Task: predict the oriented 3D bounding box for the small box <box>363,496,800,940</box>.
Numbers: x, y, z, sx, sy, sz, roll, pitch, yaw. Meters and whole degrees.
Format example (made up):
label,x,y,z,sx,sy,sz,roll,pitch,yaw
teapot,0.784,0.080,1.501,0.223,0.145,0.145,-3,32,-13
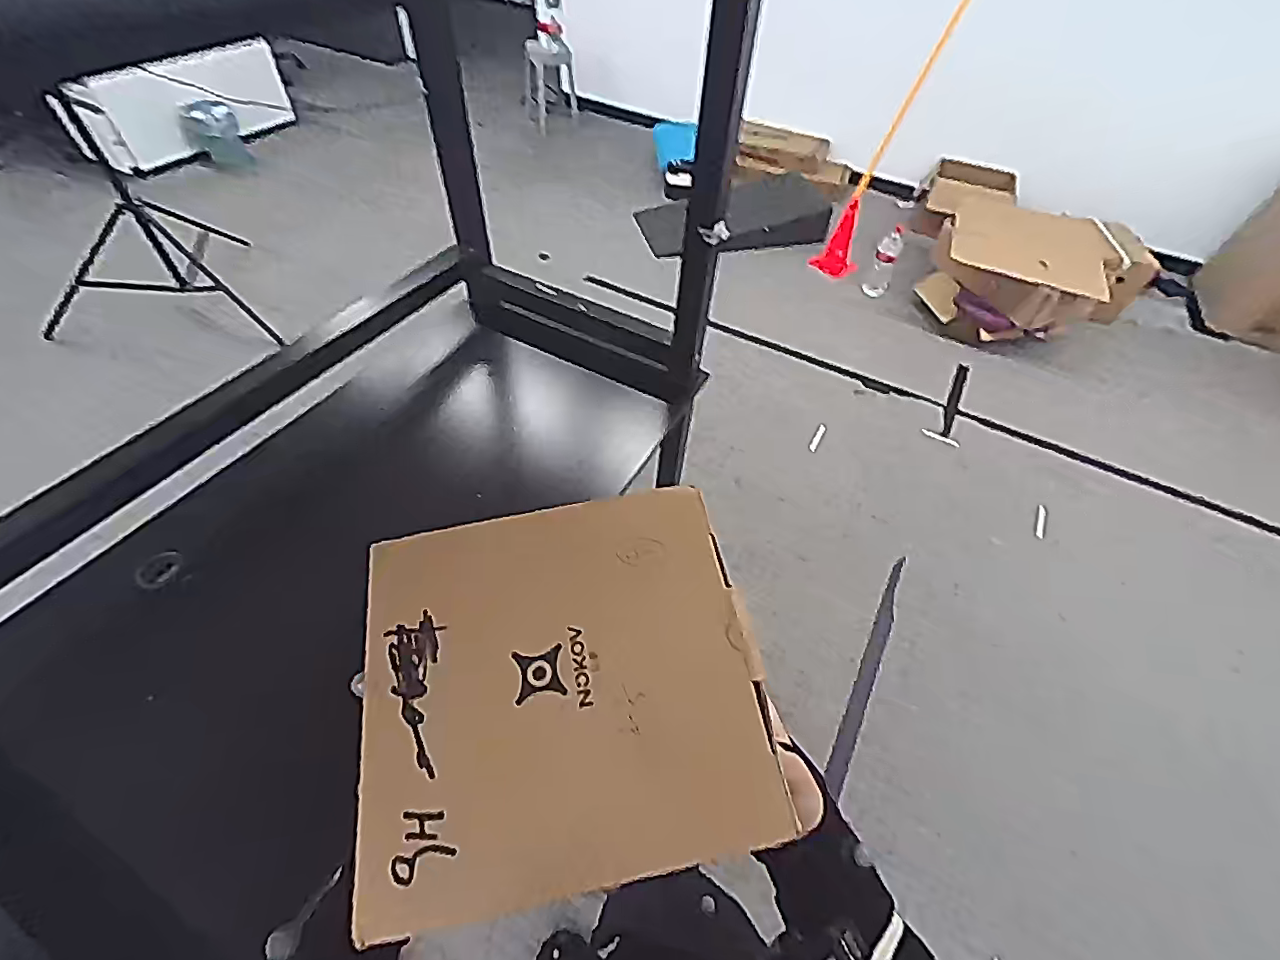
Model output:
label,x,y,z,sx,sy,sz,roll,pitch,yaw
small box,-0.034,0.130,0.318,0.179,0.176,0.168,-10,60,-5
